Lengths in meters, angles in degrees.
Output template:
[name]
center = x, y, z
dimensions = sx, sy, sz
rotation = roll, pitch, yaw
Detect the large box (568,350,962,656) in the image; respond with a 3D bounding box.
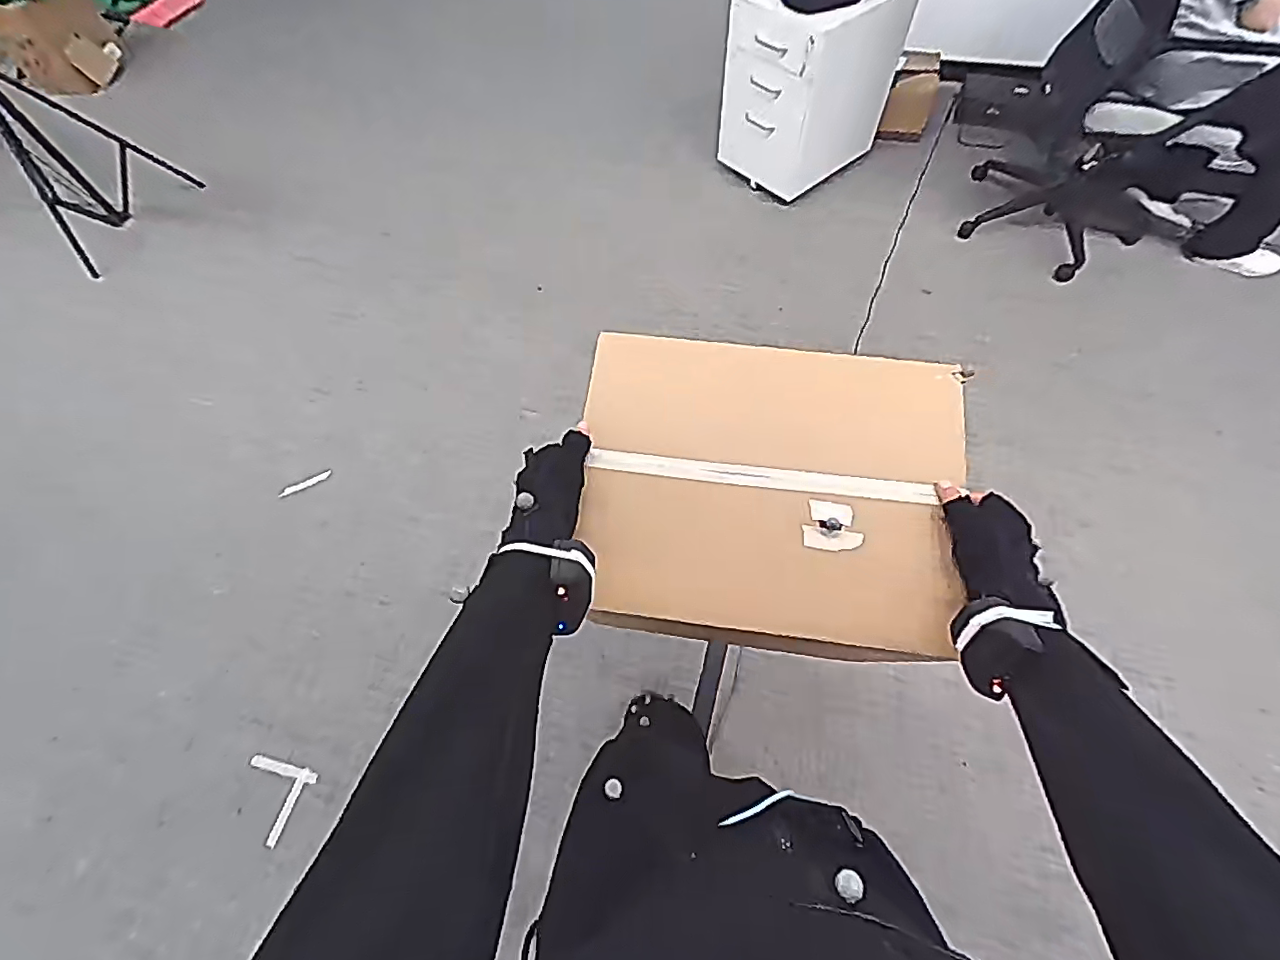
[large box]
center = 0.141, 0.053, 0.730
dimensions = 0.408, 0.320, 0.320
rotation = 7, 73, 4
